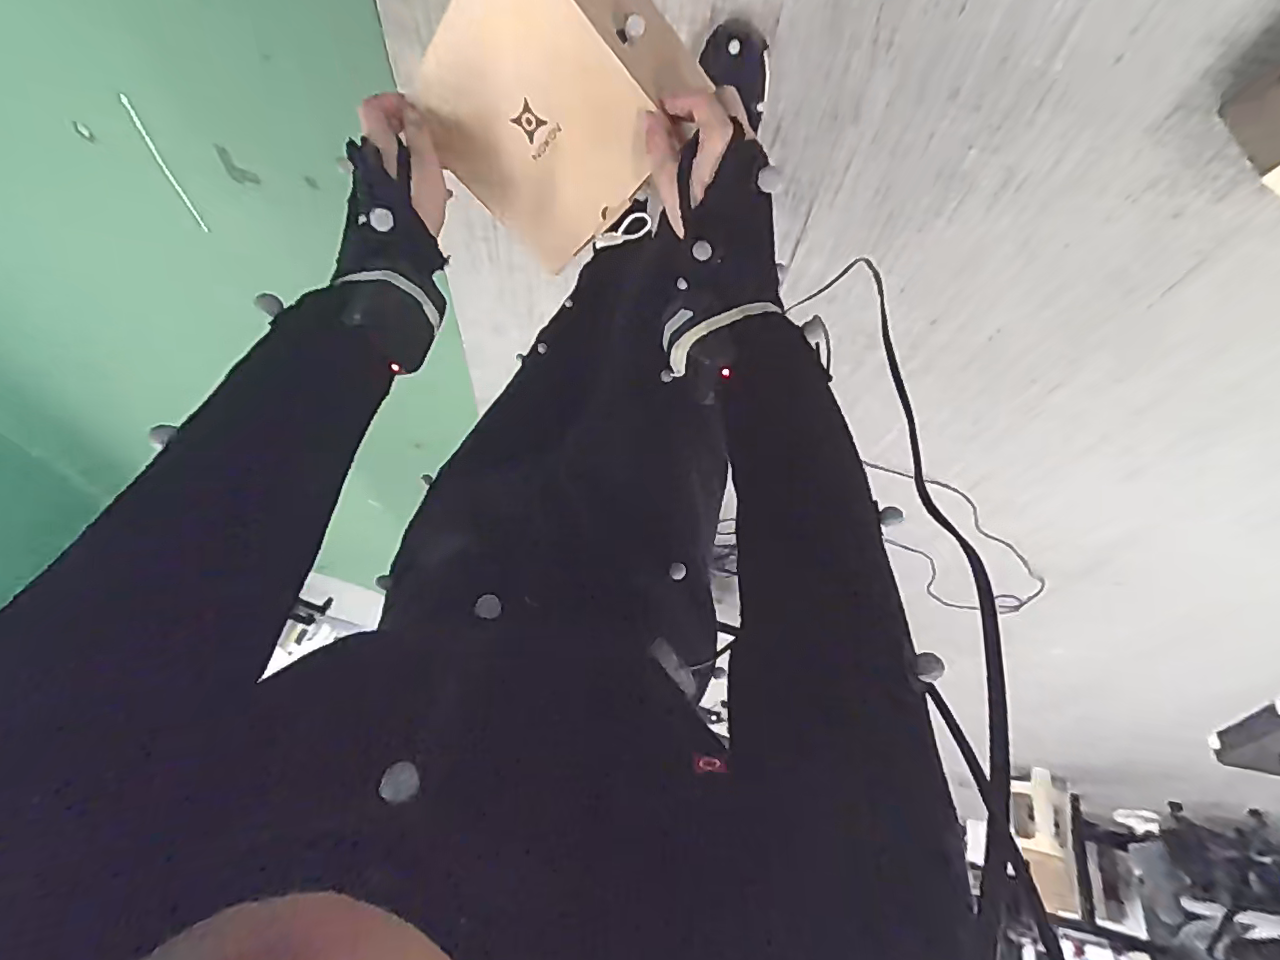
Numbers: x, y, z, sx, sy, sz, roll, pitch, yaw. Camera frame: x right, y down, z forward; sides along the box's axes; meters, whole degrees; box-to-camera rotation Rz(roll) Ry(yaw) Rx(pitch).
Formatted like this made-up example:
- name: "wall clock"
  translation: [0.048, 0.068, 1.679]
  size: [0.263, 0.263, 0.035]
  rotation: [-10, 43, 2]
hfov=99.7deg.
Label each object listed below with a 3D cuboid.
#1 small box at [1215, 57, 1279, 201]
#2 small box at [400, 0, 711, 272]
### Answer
- name: "small box"
  translation: [0.818, -0.406, 0.605]
  size: [0.179, 0.176, 0.168]
  rotation: [26, 147, -11]
- name: "small box"
  translation: [-0.061, -0.327, 0.470]
  size: [0.179, 0.176, 0.168]
  rotation: [41, 133, -22]
